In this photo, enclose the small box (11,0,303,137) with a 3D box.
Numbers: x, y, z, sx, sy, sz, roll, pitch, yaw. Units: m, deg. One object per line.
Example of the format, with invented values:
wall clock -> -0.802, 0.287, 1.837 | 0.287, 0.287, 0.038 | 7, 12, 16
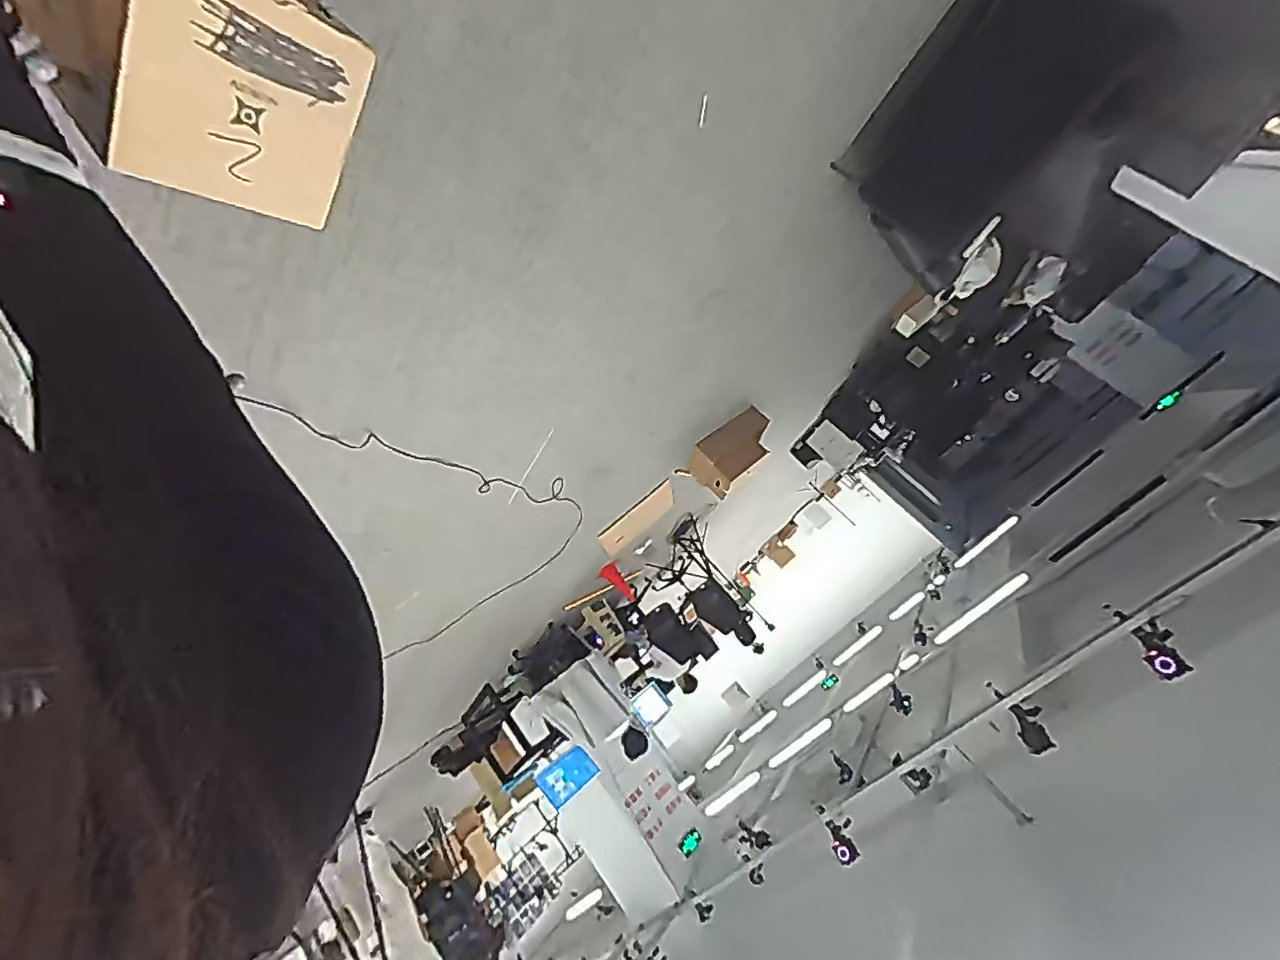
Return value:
small box -> -0.475, -0.488, 0.529 | 0.179, 0.176, 0.168 | -12, 143, -57
